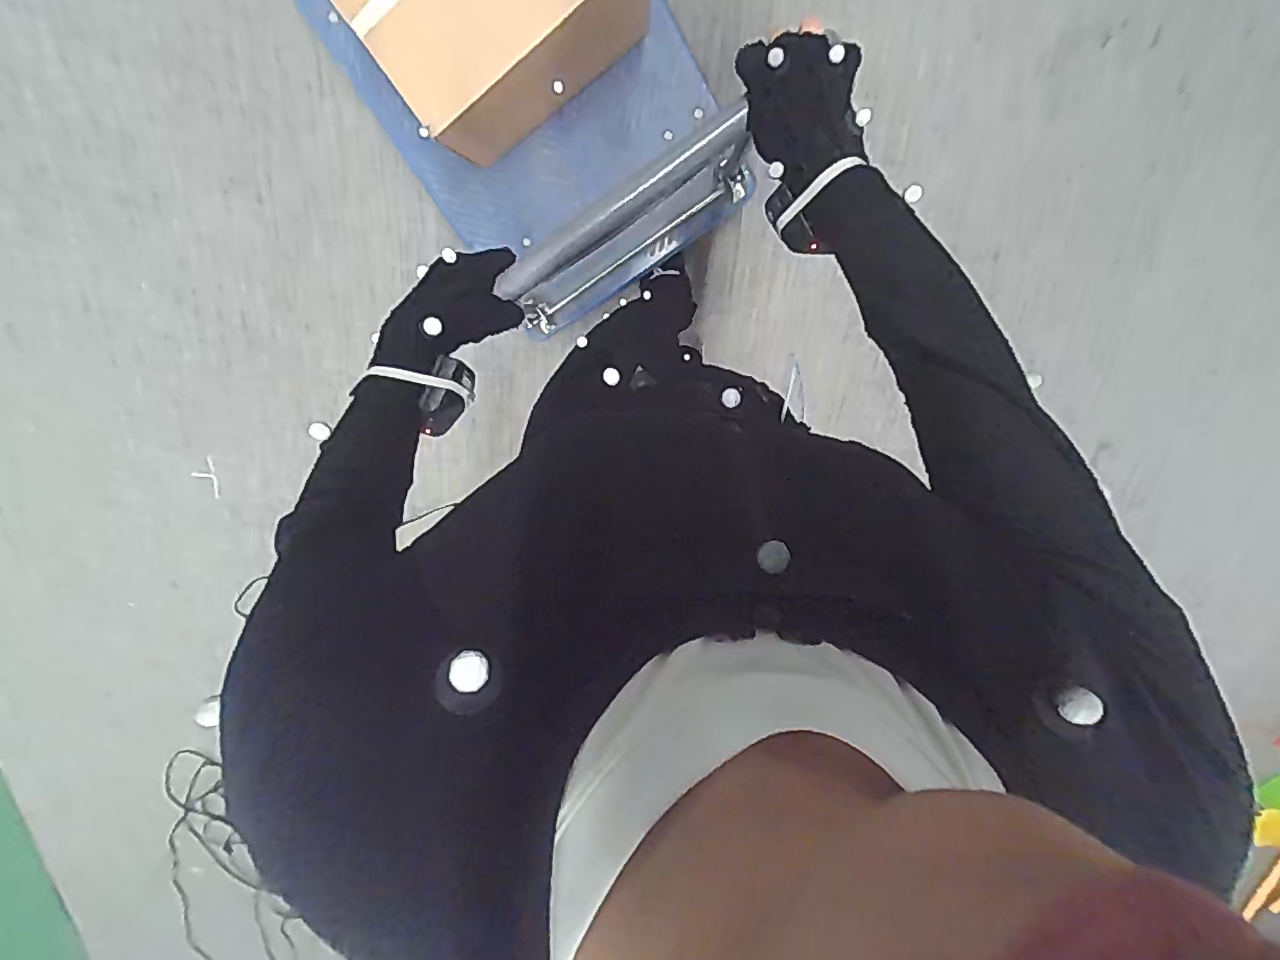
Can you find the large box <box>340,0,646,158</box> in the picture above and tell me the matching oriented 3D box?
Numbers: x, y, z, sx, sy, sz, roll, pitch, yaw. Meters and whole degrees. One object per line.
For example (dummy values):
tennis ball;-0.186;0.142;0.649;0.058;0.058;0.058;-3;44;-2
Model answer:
large box;-0.233;-0.803;0.856;0.408;0.320;0.320;-34;108;13
